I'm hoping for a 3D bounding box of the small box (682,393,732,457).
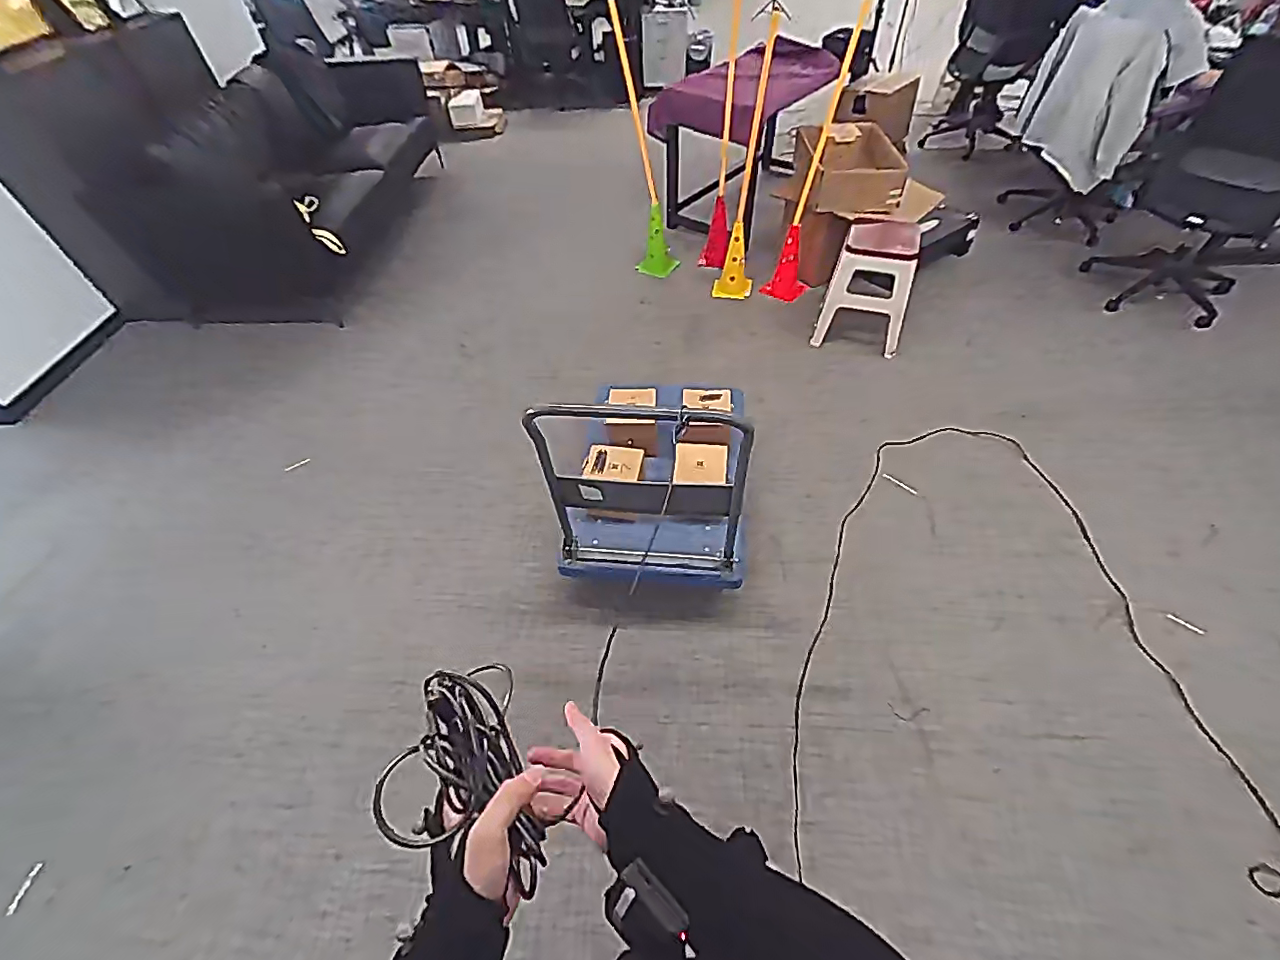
[{"bbox_3d":[0.233,-0.185,1.894,0.168,0.176,0.179,2,51,6],"label":"small box"}]

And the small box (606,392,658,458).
[{"bbox_3d":[-0.023,-0.194,1.920,0.168,0.176,0.179,1,50,4],"label":"small box"}]

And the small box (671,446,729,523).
[{"bbox_3d":[0.191,0.015,1.733,0.168,0.176,0.179,5,52,8],"label":"small box"}]
